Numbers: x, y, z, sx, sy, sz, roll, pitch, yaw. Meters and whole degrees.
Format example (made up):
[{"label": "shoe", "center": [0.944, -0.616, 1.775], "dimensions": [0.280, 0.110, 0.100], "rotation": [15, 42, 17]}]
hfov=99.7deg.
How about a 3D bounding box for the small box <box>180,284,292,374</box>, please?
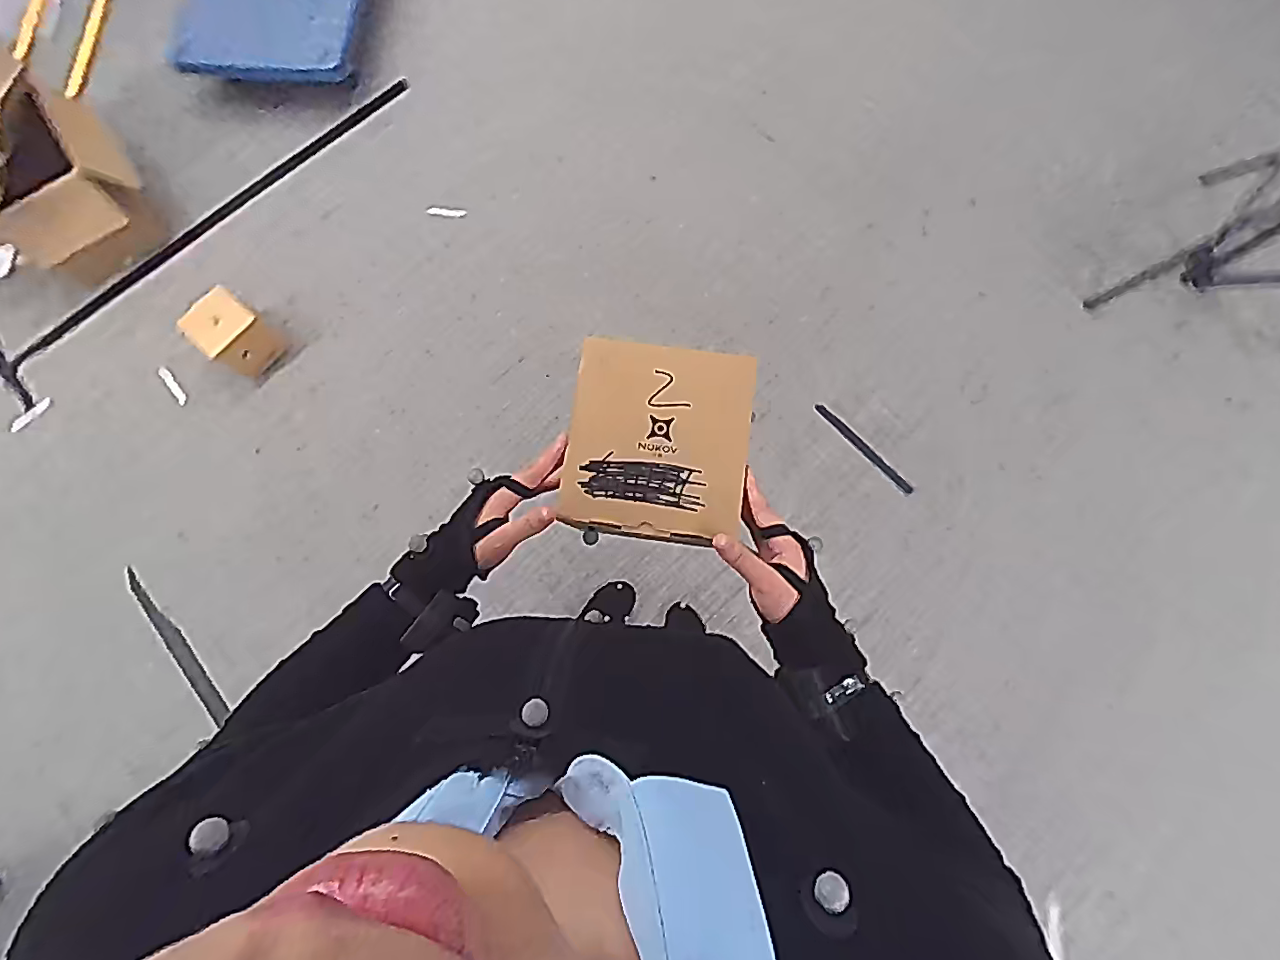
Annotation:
[{"label": "small box", "center": [-1.206, -0.442, 1.628], "dimensions": [0.179, 0.176, 0.168], "rotation": [41, 82, 10]}]
